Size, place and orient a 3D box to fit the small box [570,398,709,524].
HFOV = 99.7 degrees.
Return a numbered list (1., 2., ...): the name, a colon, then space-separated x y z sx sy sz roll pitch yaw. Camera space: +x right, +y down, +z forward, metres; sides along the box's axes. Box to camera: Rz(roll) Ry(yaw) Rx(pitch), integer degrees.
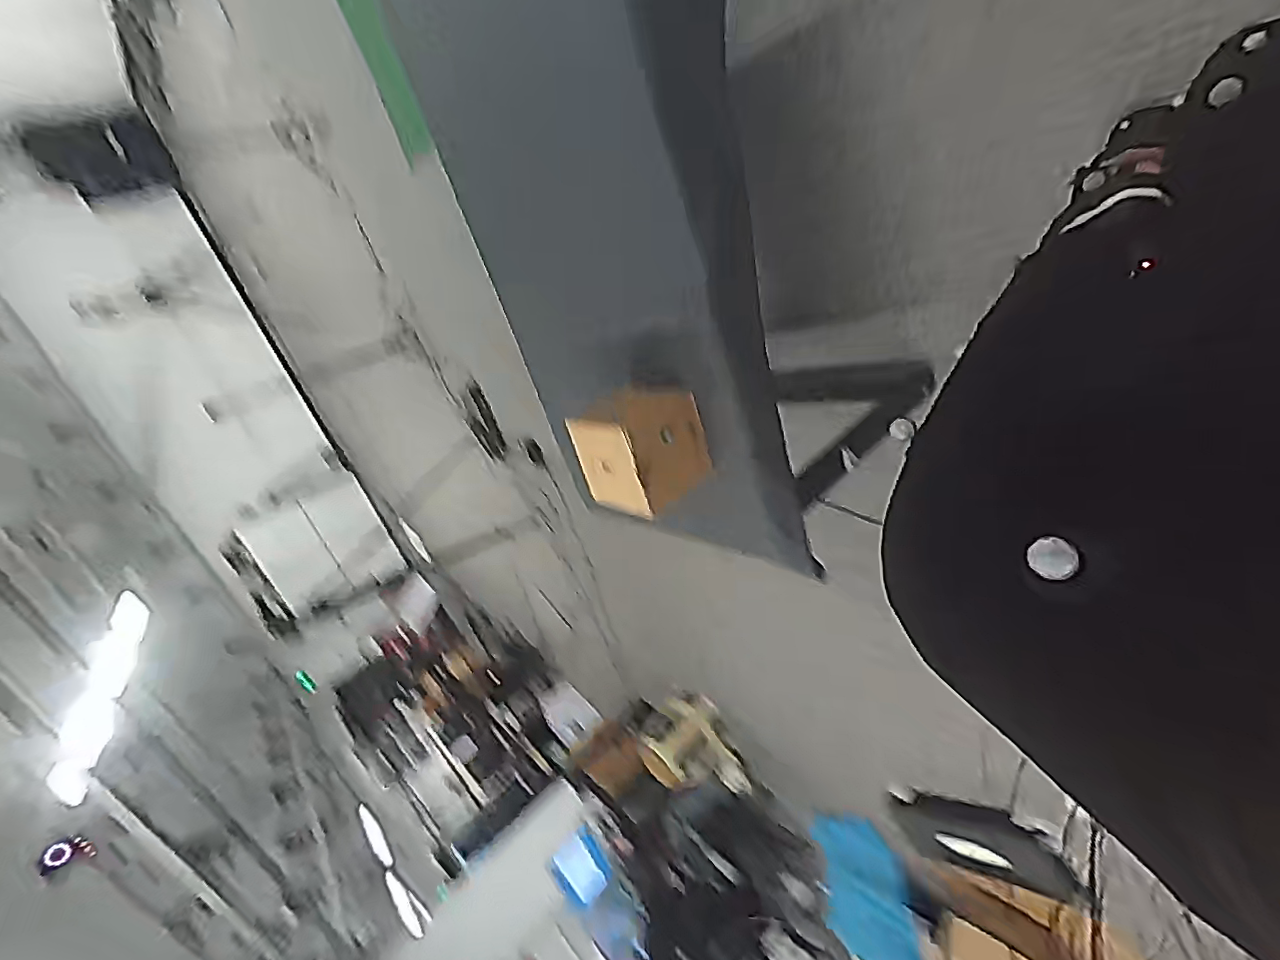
1. small box: 0.007 -0.044 0.991 0.179 0.176 0.168 13 127 51
